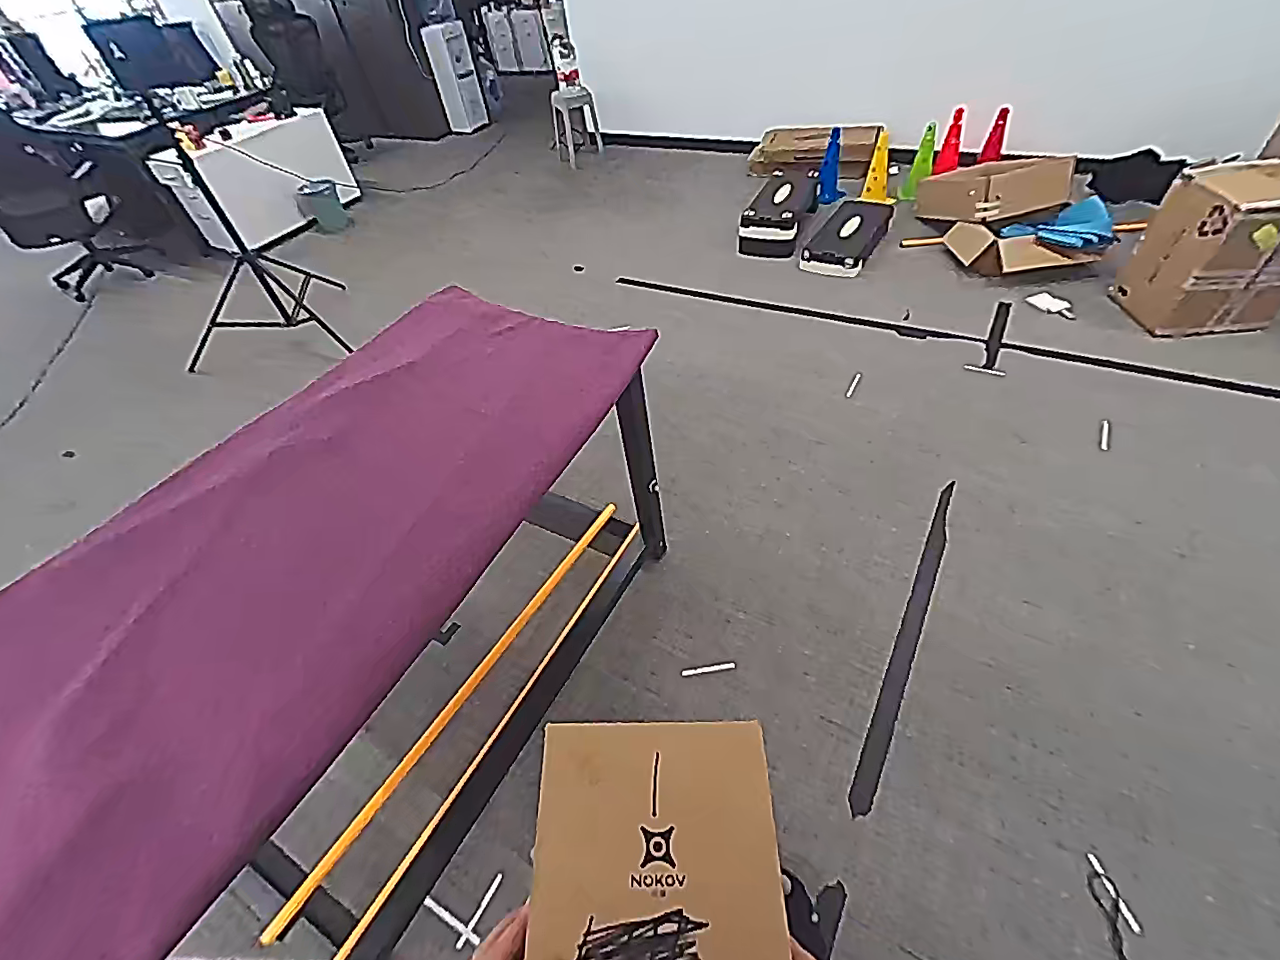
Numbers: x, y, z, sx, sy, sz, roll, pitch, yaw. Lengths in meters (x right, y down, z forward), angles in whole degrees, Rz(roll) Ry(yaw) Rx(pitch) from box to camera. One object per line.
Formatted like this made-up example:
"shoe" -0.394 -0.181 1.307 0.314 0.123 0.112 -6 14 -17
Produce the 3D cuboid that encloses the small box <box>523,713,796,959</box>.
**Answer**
"small box" 0.014 0.292 0.416 0.168 0.176 0.179 -1 53 0
